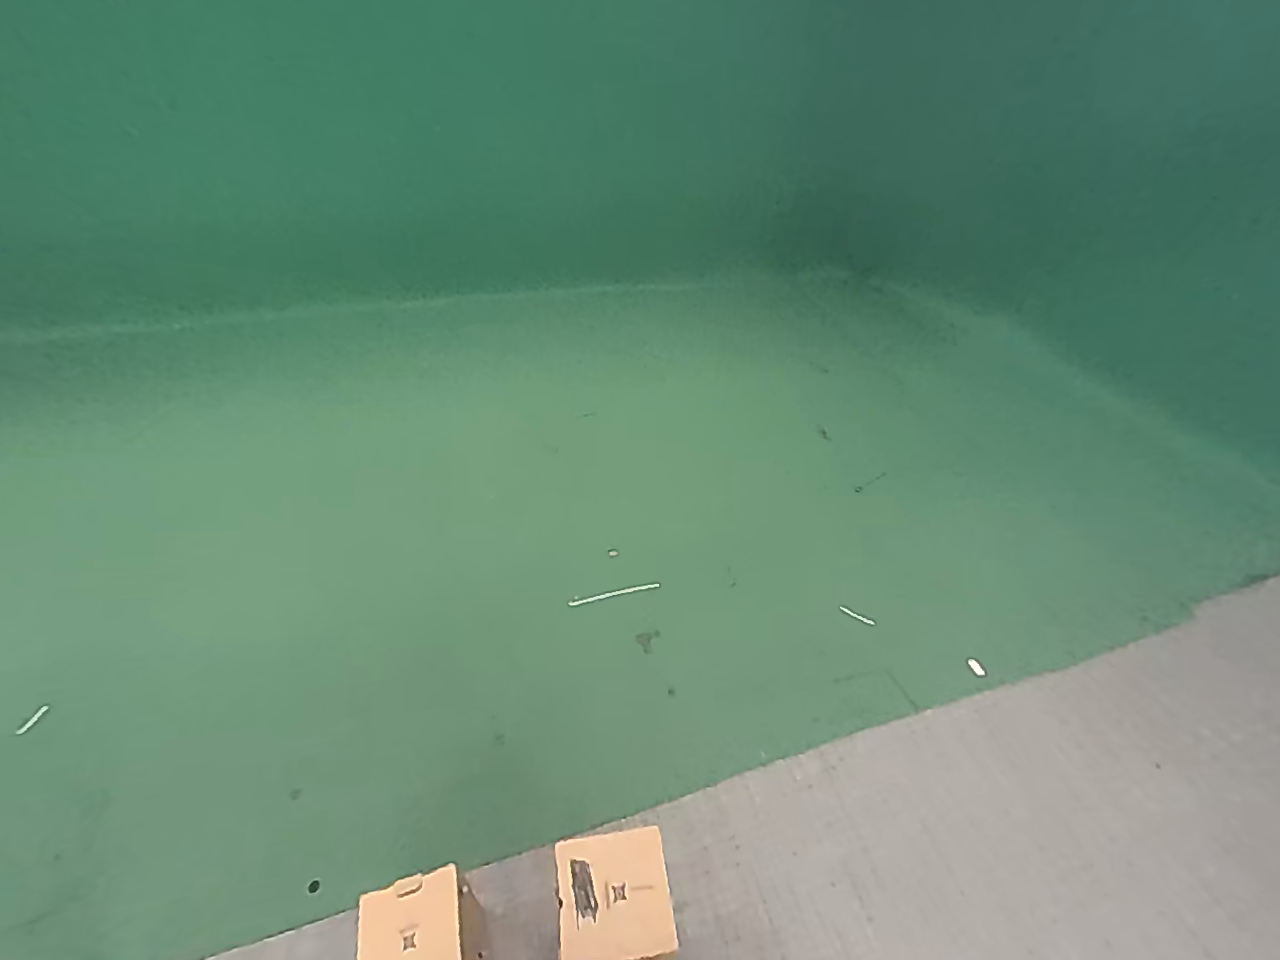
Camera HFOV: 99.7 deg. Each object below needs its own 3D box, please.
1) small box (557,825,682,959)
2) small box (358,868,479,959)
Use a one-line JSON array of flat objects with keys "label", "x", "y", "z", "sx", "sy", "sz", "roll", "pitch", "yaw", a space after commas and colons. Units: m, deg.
[{"label": "small box", "x": -0.037, "y": 0.692, "z": 0.879, "sx": 0.179, "sy": 0.176, "sz": 0.168, "roll": -4, "pitch": 43, "yaw": -8}, {"label": "small box", "x": -0.383, "y": 0.832, "z": 0.954, "sx": 0.168, "sy": 0.176, "sz": 0.179, "roll": -11, "pitch": 43, "yaw": -15}]
